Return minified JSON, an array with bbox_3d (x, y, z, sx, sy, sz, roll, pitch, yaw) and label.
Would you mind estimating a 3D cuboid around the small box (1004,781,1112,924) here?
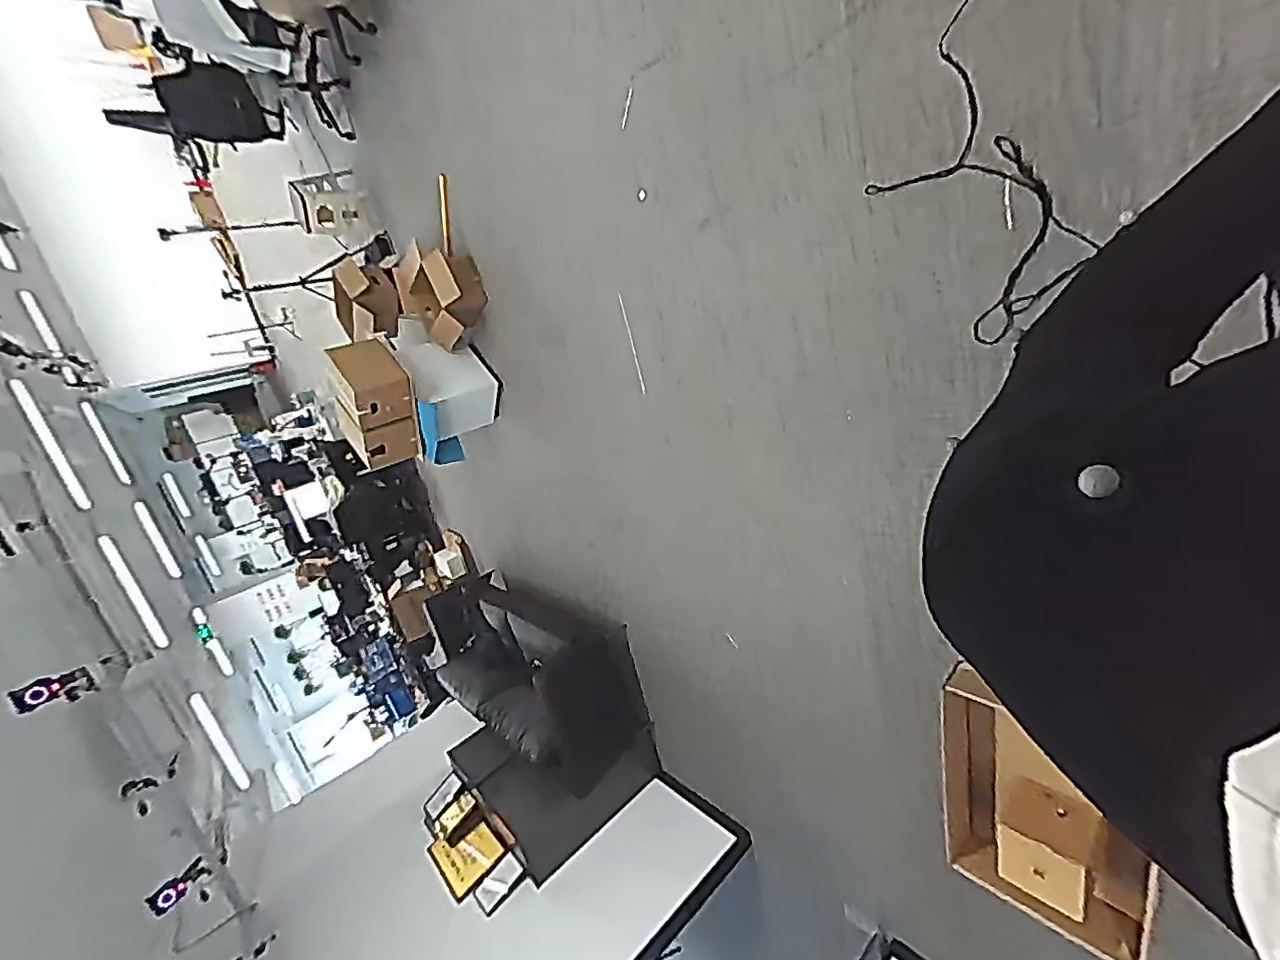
[{"bbox_3d":[0.982,0.863,1.270,0.168,0.176,0.179,9,117,51],"label":"small box"}]
